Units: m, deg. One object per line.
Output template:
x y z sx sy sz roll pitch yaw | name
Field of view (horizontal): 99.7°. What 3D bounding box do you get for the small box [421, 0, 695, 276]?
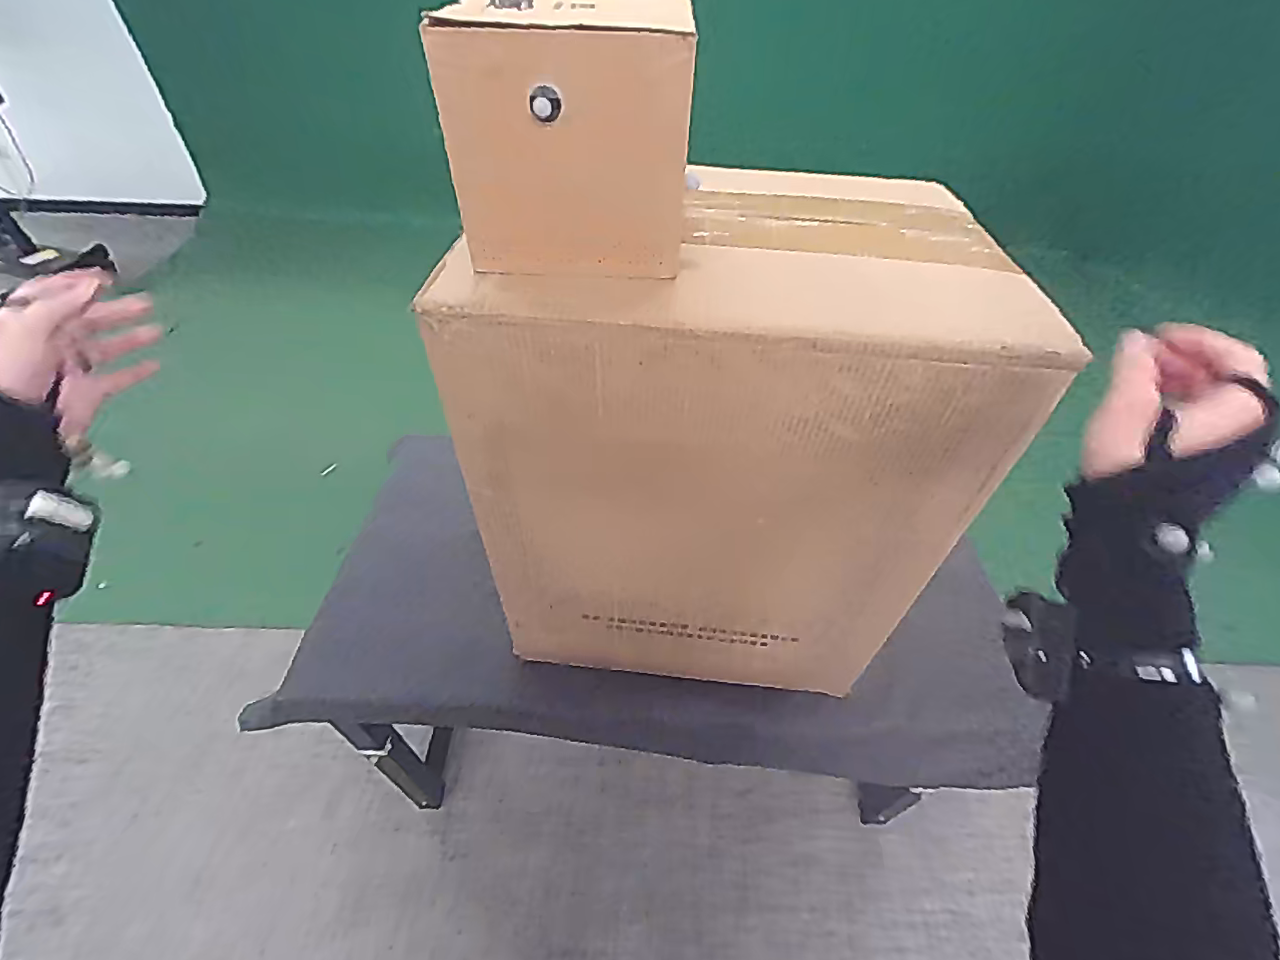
-0.049 -0.292 0.459 0.179 0.176 0.168 5 51 4 | small box
